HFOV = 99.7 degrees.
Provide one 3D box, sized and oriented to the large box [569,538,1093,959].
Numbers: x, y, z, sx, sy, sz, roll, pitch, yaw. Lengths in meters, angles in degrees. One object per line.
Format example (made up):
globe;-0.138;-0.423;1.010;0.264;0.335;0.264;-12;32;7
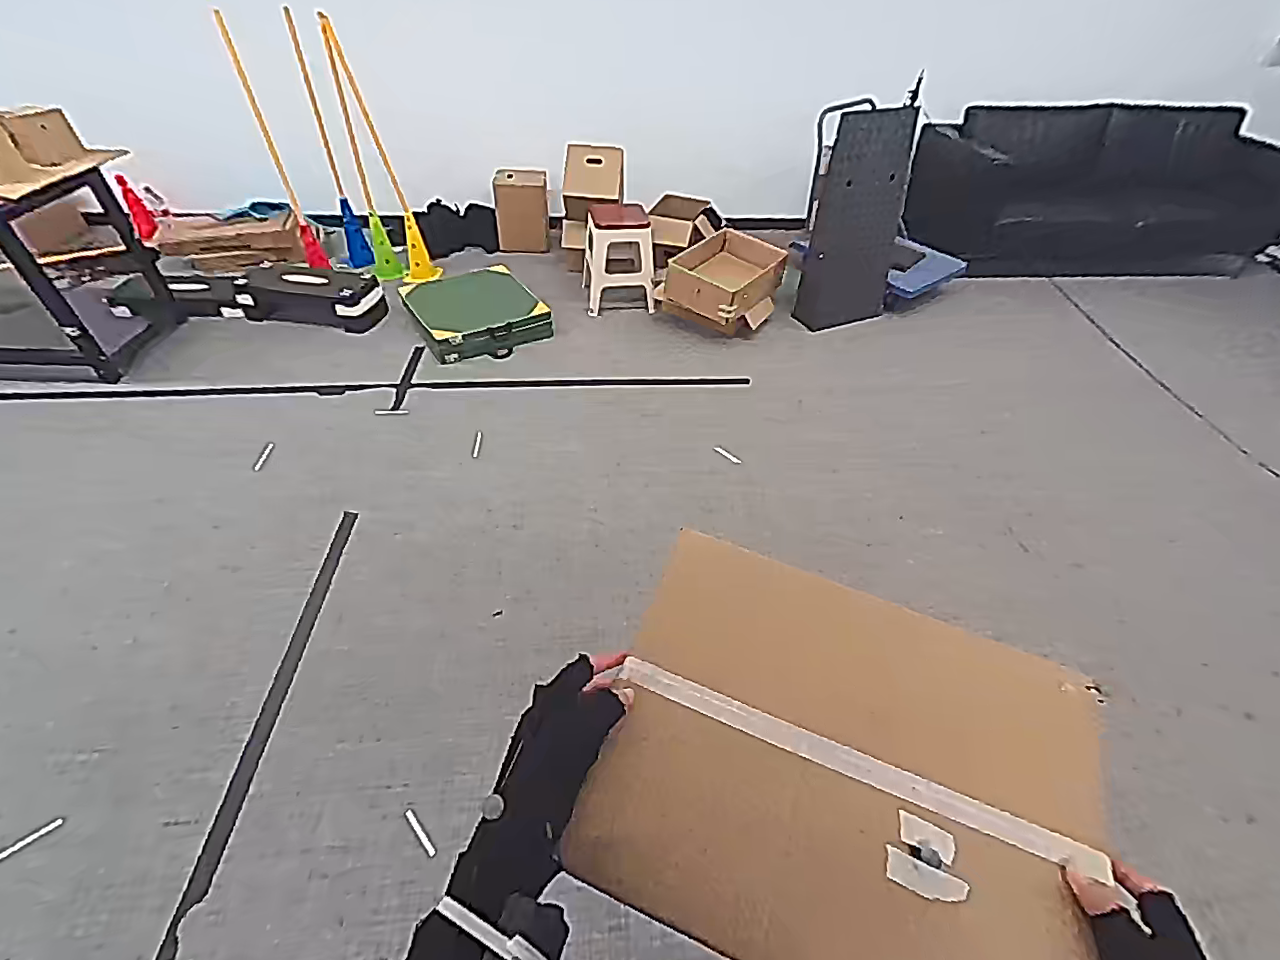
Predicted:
large box;0.172;0.322;0.598;0.408;0.320;0.320;20;59;10
